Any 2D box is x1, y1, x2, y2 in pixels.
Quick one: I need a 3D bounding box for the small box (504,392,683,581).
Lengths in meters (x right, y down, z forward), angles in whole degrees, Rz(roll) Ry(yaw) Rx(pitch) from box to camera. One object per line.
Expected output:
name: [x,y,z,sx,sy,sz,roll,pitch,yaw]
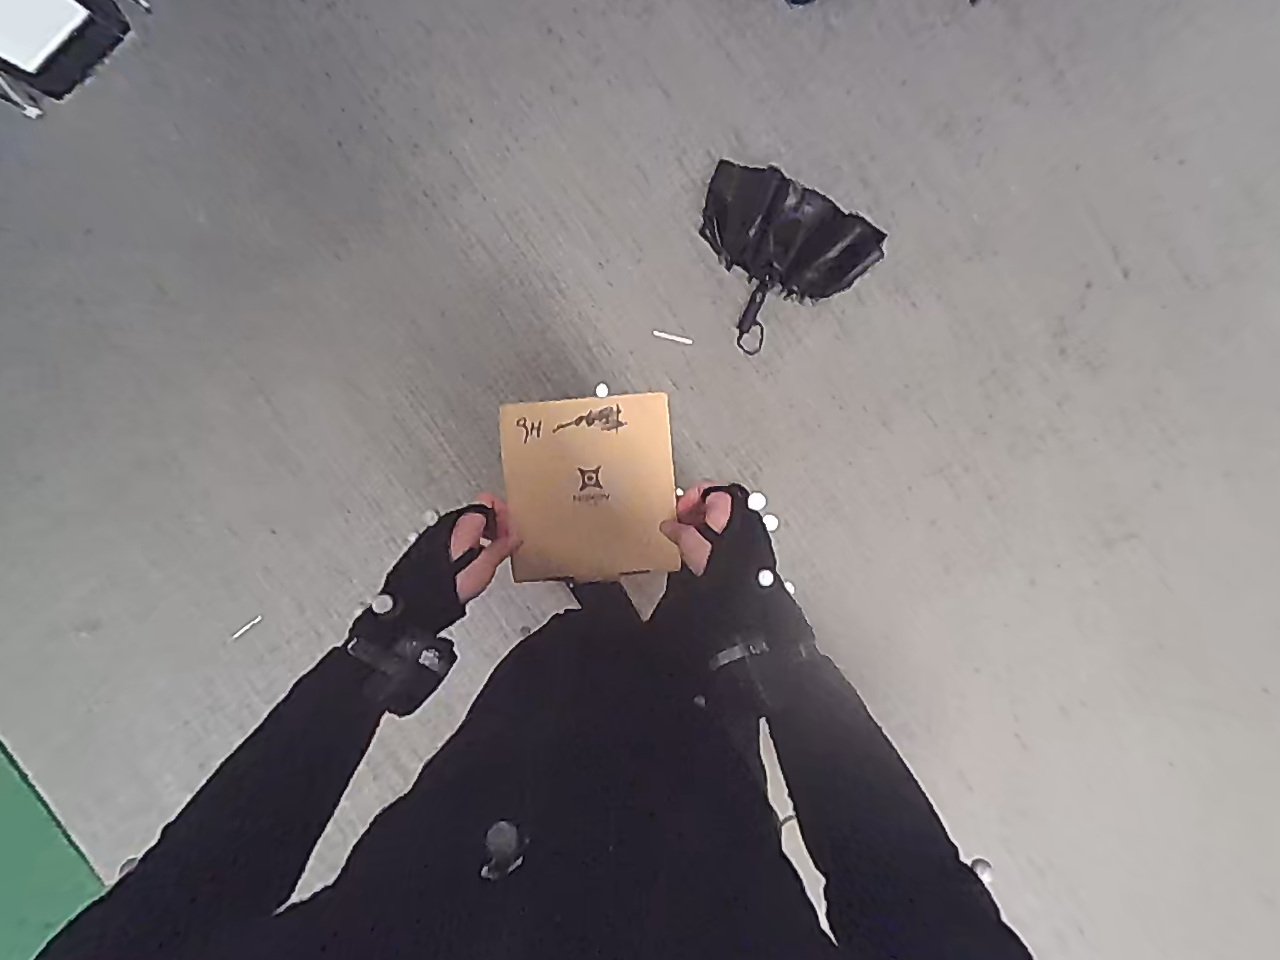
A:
small box: [-0.044,0.004,0.601,0.168,0.176,0.179,-5,91,-1]
